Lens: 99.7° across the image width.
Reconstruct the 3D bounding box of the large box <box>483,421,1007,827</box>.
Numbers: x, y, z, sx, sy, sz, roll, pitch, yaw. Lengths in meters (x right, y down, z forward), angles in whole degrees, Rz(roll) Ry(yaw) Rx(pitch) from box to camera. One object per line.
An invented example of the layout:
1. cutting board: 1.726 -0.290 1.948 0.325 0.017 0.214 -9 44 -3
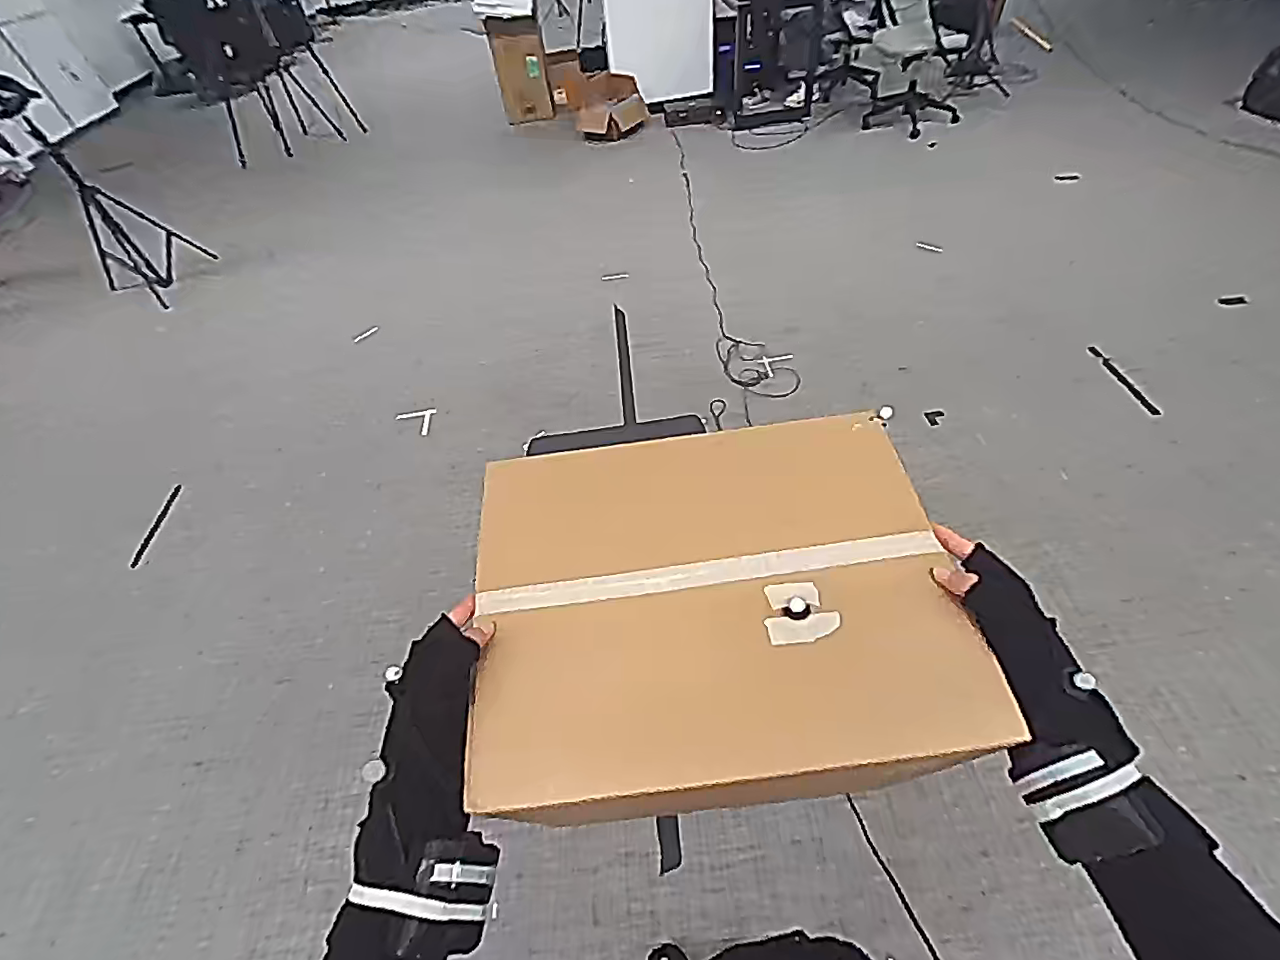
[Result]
1. large box: 0.073 0.173 0.605 0.408 0.320 0.320 -8 55 1
